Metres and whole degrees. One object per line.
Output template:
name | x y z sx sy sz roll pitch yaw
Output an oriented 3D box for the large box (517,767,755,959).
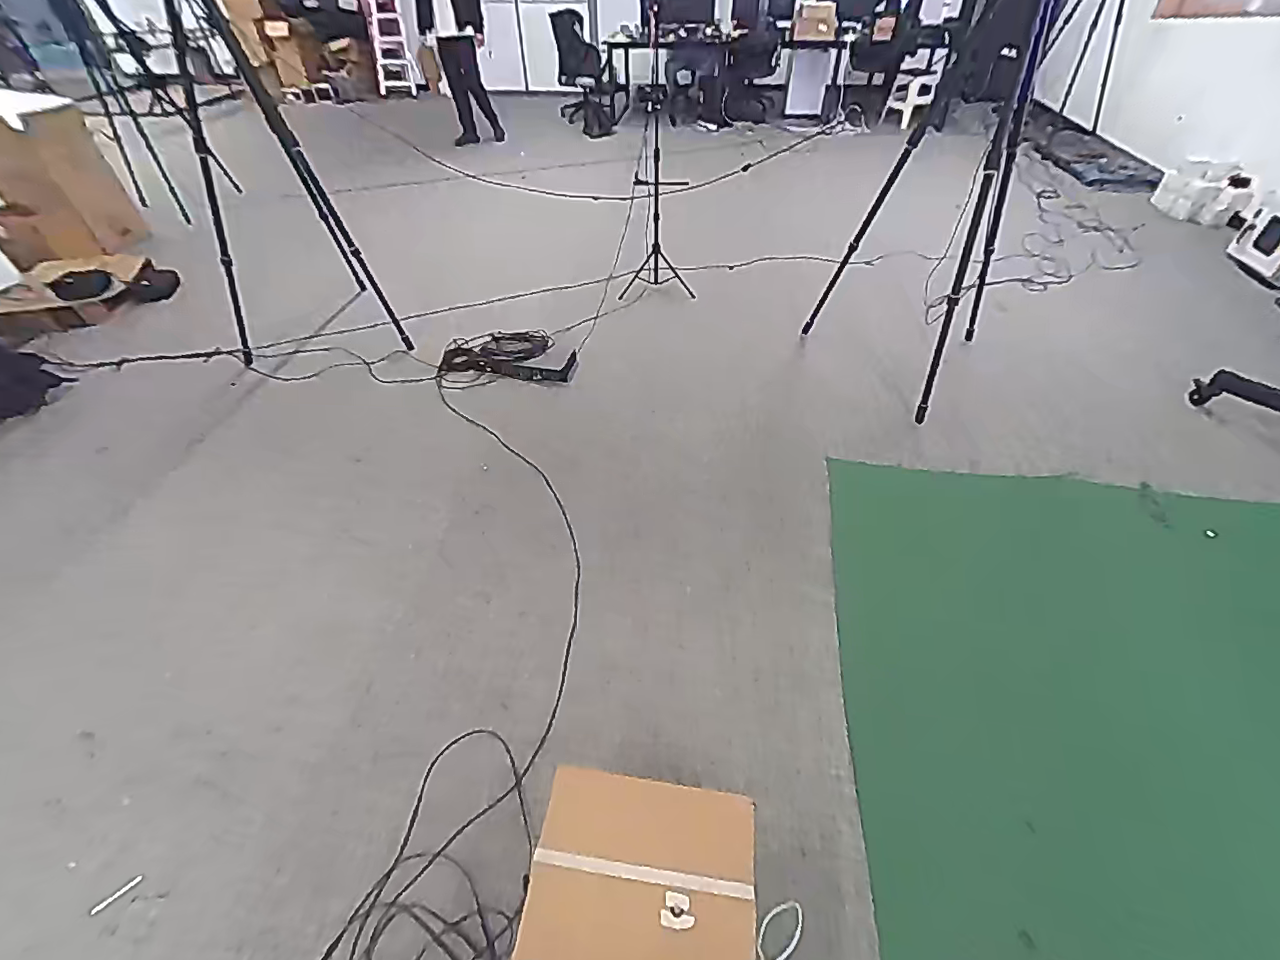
large box | 0.006 0.821 1.088 0.408 0.320 0.320 7 45 6
